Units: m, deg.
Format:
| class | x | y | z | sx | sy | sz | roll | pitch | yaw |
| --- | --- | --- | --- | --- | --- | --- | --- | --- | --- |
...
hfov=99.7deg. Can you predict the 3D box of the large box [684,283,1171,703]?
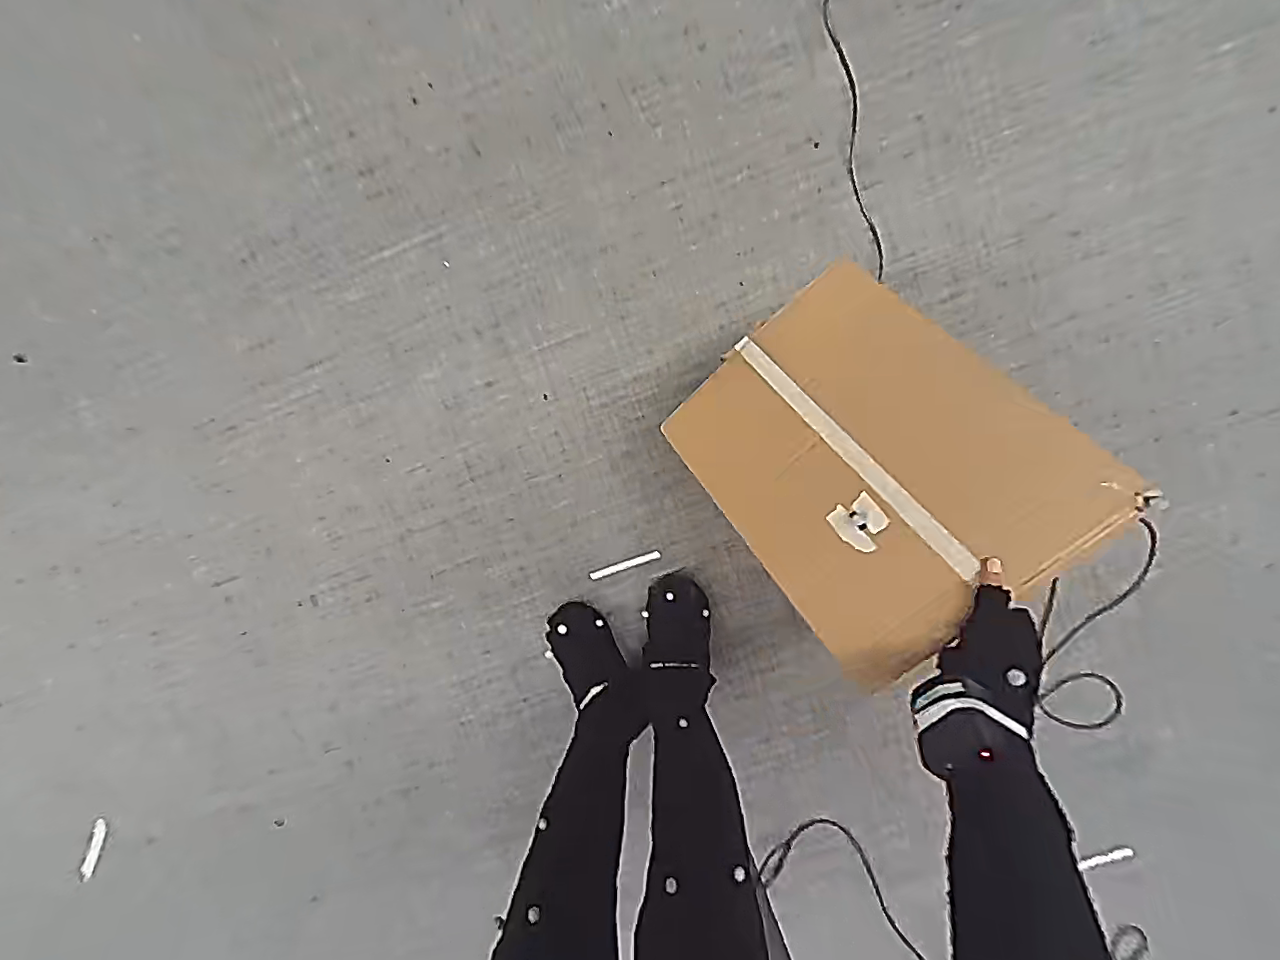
| class | x | y | z | sx | sy | sz | roll | pitch | yaw |
| --- | --- | --- | --- | --- | --- | --- | --- | --- | --- |
| large box | 0.334 | 0.025 | 0.736 | 0.320 | 0.320 | 0.408 | -42 | 61 | 13 |
